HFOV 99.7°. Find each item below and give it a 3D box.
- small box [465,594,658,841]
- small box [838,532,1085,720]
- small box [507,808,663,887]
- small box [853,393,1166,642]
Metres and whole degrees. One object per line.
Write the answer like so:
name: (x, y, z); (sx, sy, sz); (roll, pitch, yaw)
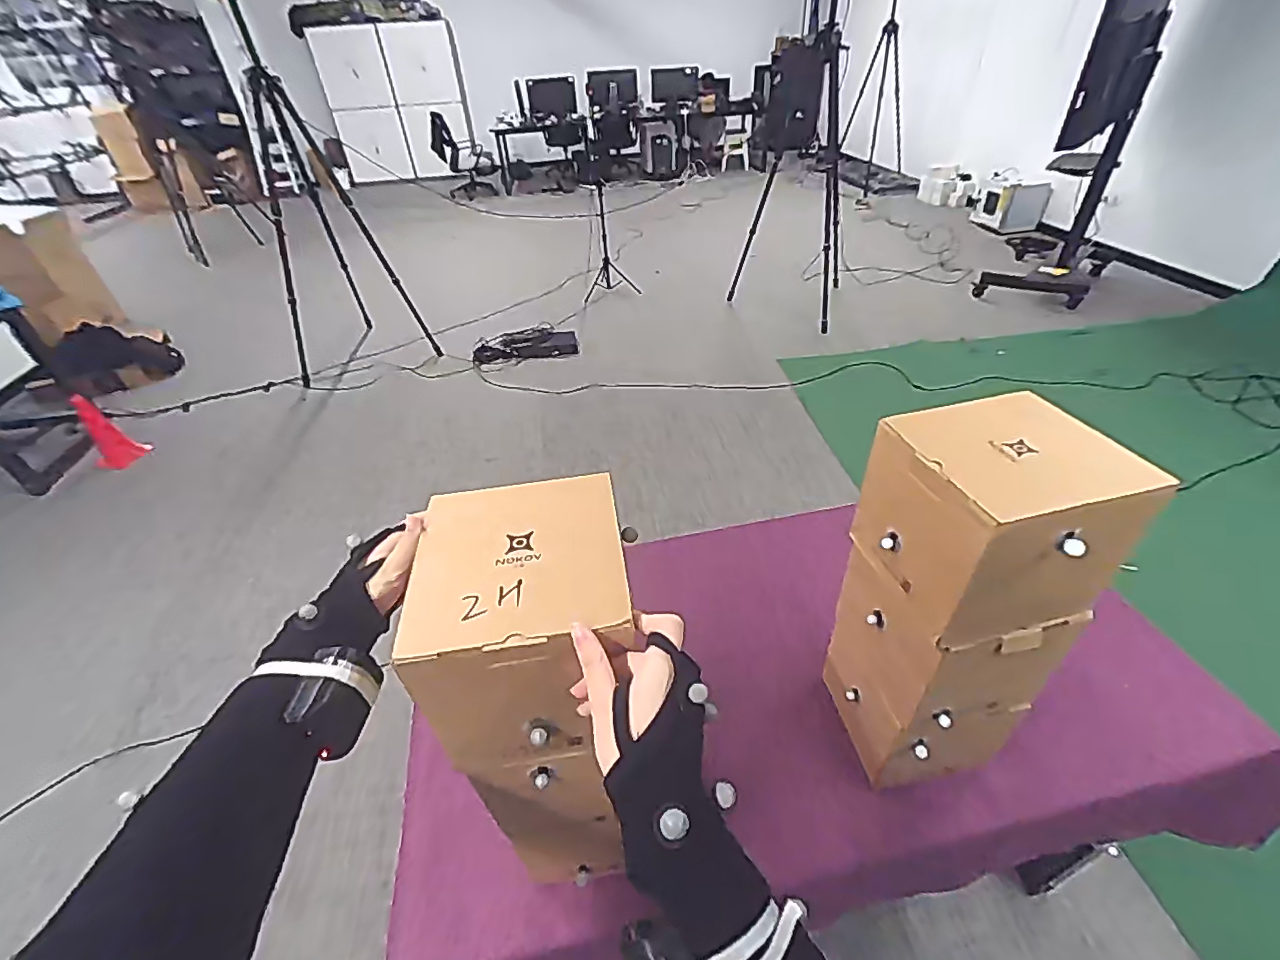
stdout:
small box: (-0.075, 0.253, 0.586); (0.168, 0.176, 0.179); (-8, 38, -2)
small box: (0.361, 0.164, 0.650); (0.168, 0.176, 0.179); (-10, 38, -7)
small box: (-0.064, 0.381, 0.689); (0.168, 0.176, 0.179); (-7, 39, -2)
small box: (0.346, 0.036, 0.551); (0.179, 0.176, 0.168); (-12, 39, -7)
